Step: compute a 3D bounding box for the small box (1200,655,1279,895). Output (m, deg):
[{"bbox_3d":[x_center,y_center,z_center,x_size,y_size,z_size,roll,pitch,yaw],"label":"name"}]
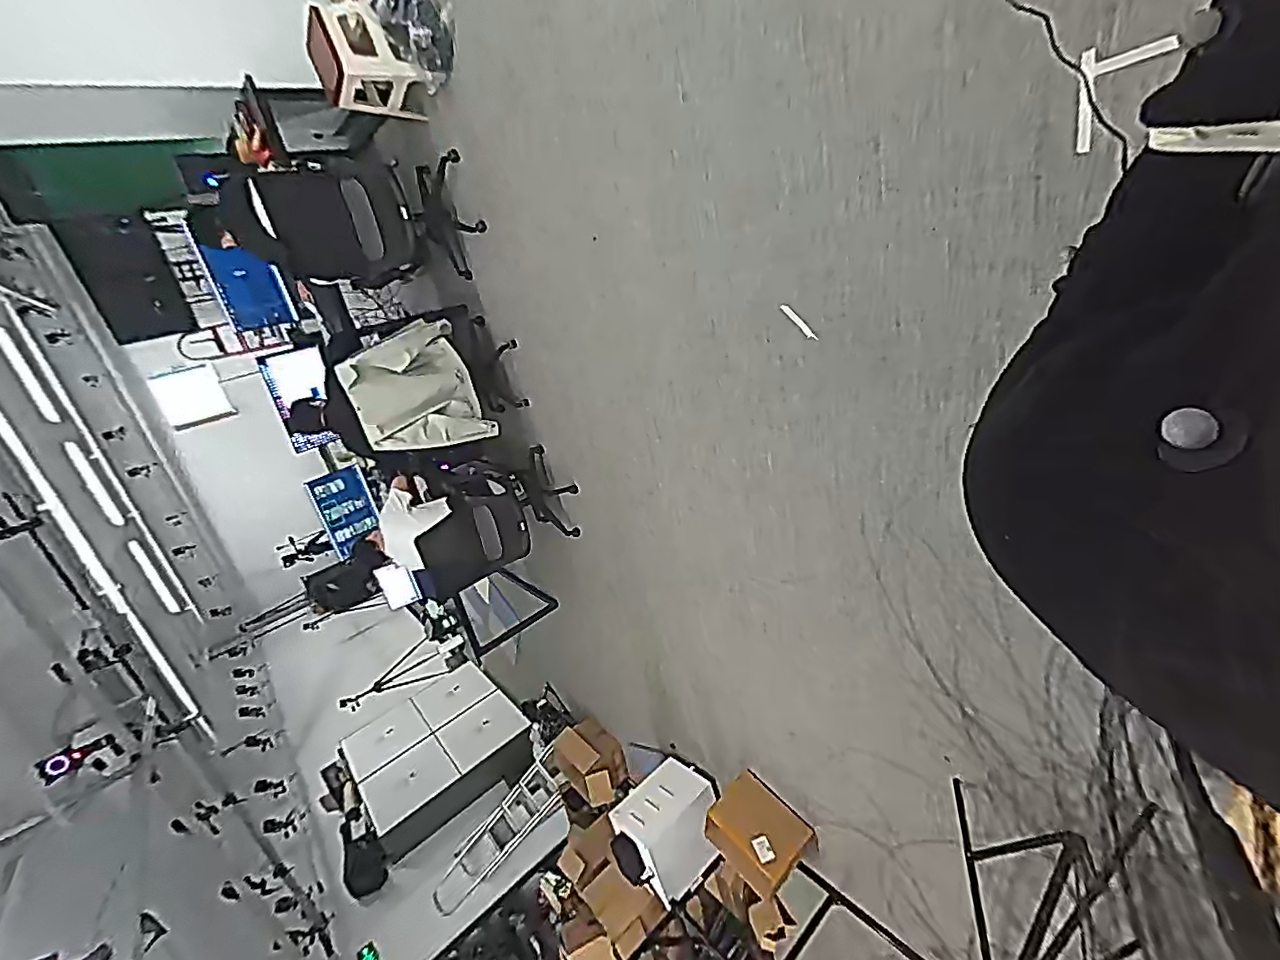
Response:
[{"bbox_3d":[0.647,0.276,0.472,0.179,0.176,0.168,19,127,46],"label":"small box"}]
